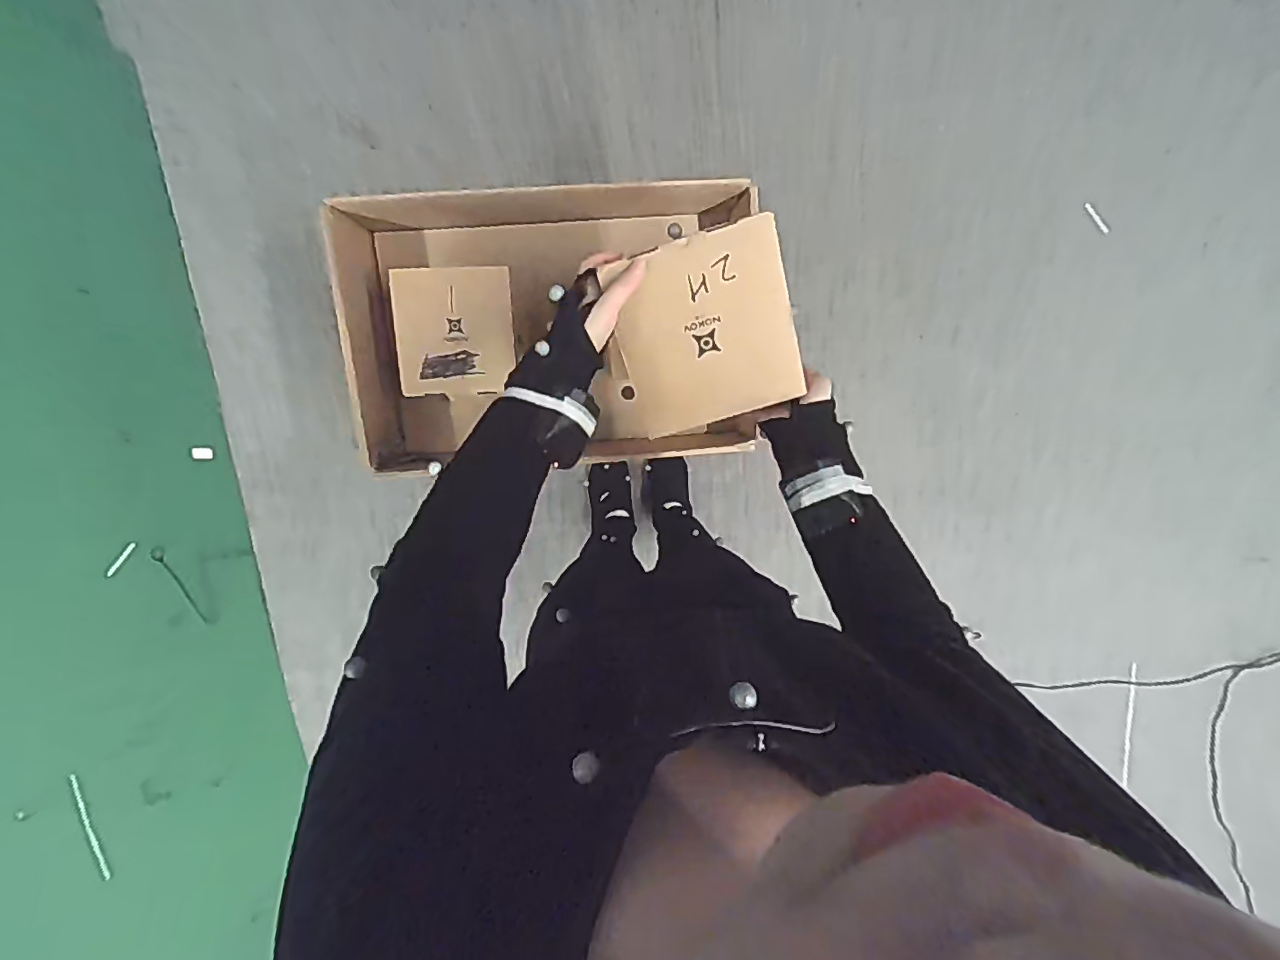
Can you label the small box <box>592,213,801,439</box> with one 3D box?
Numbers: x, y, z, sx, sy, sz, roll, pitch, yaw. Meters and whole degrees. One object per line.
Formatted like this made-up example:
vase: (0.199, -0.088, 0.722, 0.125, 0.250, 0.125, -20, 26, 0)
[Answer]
small box: (0.060, -0.169, 0.582, 0.168, 0.176, 0.179, -16, 112, 8)
